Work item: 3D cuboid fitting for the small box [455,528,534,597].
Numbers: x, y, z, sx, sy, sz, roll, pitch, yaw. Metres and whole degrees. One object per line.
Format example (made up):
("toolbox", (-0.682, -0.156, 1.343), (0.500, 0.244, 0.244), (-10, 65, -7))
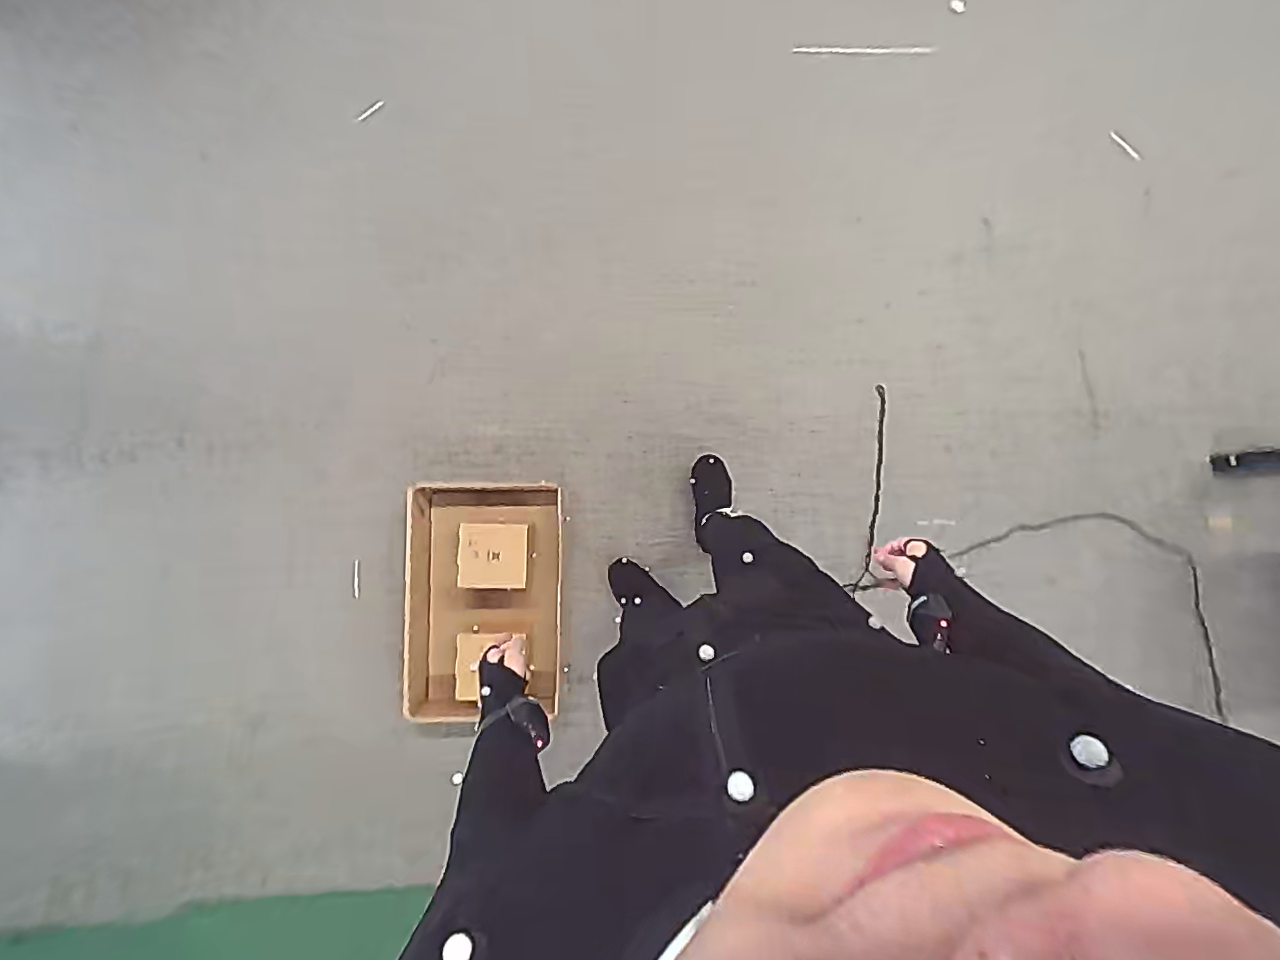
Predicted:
("small box", (-0.382, 0.217, 1.452), (0.179, 0.176, 0.168), (2, 86, -3))

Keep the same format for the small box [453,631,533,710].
("small box", (-0.383, 0.499, 1.434), (0.179, 0.176, 0.168), (0, 86, -2))
